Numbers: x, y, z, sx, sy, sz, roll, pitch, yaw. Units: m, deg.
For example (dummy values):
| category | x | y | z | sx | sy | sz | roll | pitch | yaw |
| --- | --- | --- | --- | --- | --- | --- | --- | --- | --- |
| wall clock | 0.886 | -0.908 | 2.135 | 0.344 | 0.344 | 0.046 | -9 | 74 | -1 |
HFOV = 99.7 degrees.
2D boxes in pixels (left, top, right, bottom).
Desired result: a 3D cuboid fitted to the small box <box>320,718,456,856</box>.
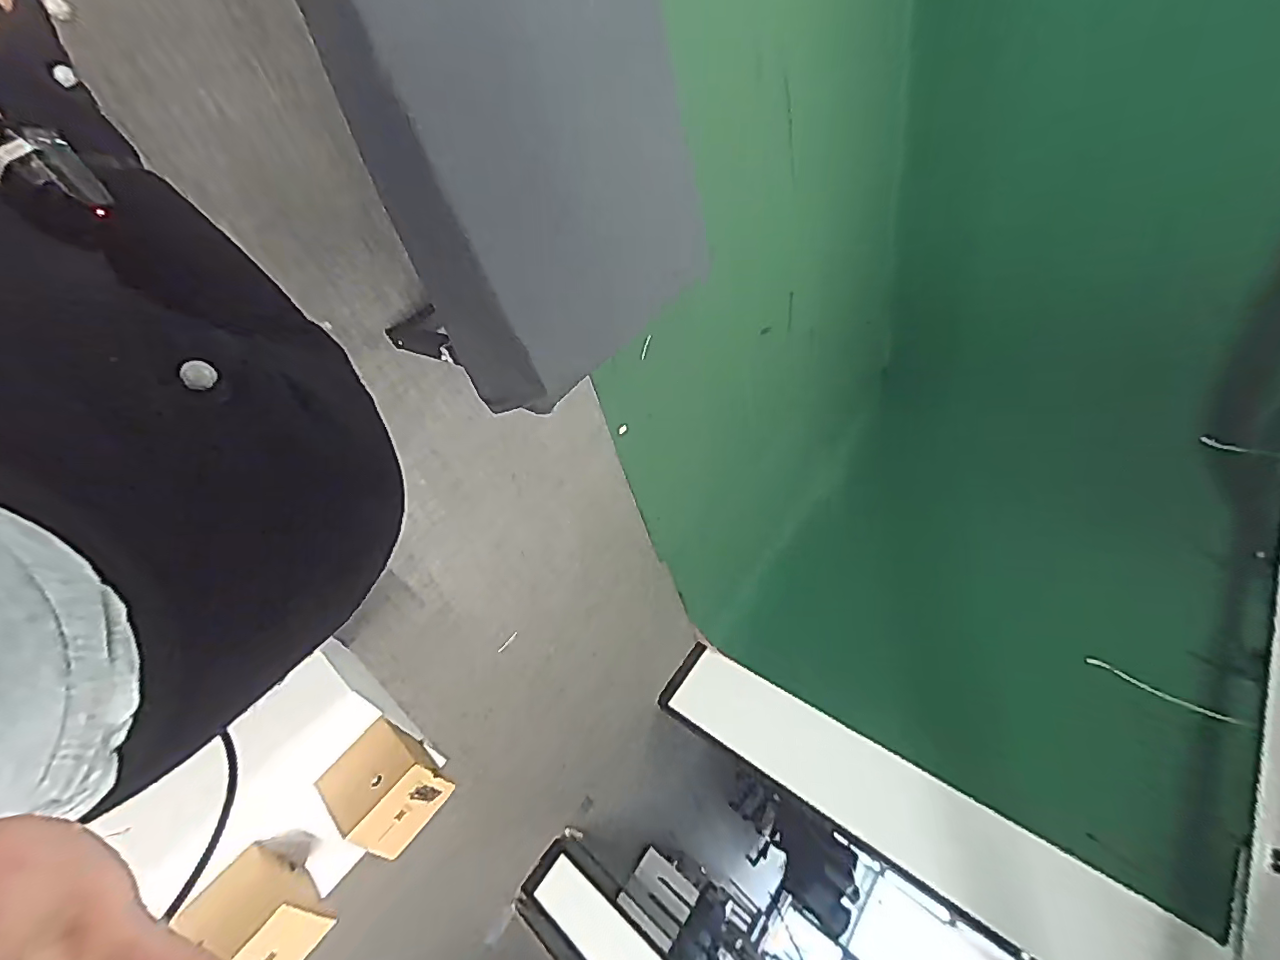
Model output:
| category | x | y | z | sx | sy | sz | roll | pitch | yaw |
| --- | --- | --- | --- | --- | --- | --- | --- | --- | --- |
| small box | -0.540 | 0.651 | 1.159 | 0.179 | 0.176 | 0.168 | -46 | 137 | -24 |

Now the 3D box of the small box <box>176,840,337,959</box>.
| category | x | y | z | sx | sy | sz | roll | pitch | yaw |
| --- | --- | --- | --- | --- | --- | --- | --- | --- | --- |
| small box | -0.728 | 0.839 | 1.025 | 0.179 | 0.176 | 0.168 | -46 | 138 | -29 |
